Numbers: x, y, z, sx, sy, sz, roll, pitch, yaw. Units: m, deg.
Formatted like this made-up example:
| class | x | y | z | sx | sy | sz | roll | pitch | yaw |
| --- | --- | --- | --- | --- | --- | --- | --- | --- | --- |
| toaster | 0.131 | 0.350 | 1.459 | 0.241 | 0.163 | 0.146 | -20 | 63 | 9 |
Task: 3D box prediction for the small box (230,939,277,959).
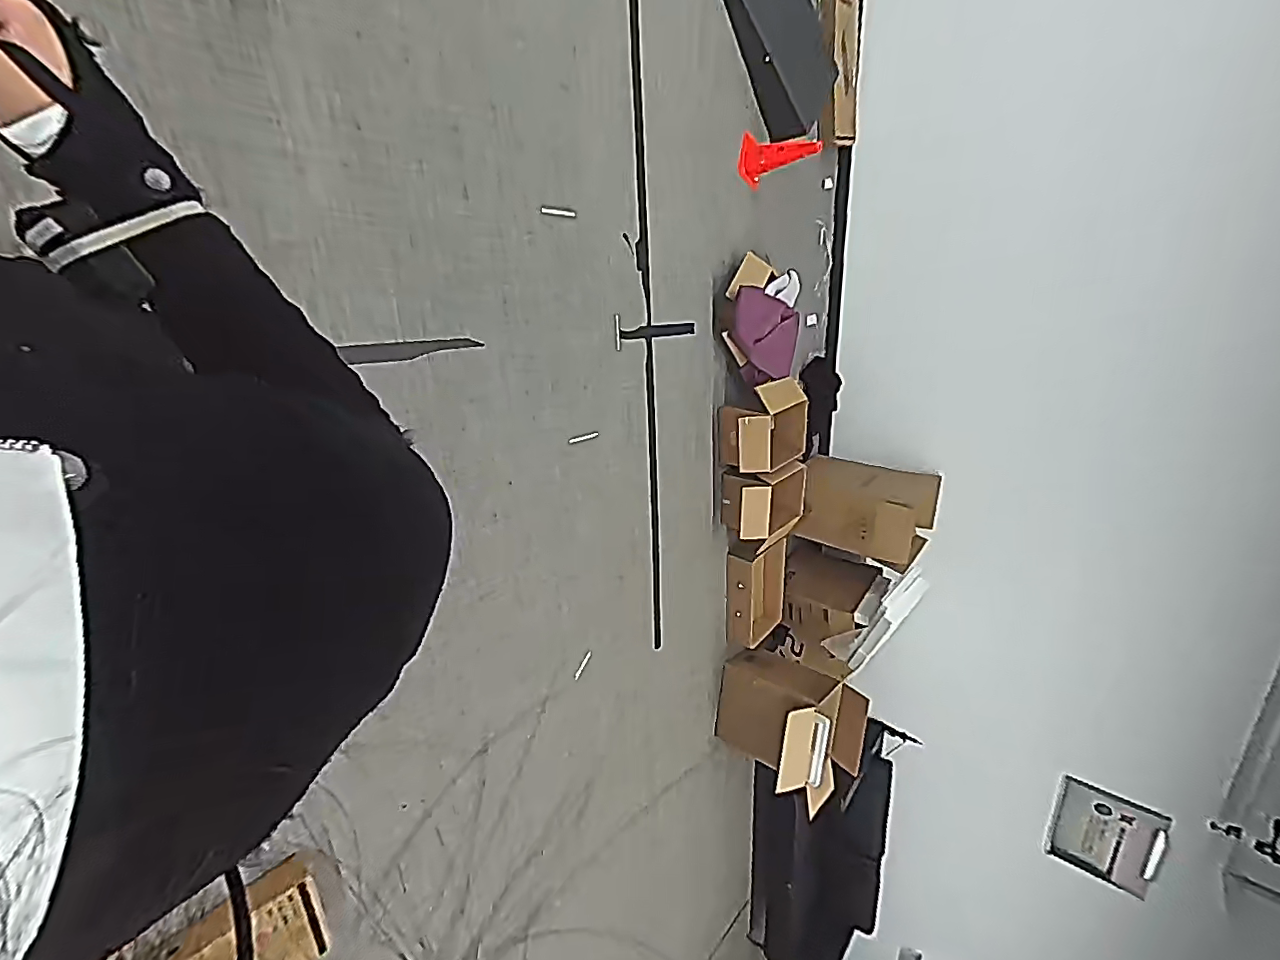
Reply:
| class | x | y | z | sx | sy | sz | roll | pitch | yaw |
| --- | --- | --- | --- | --- | --- | --- | --- | --- | --- |
| small box | -0.978 | 1.303 | 1.341 | 0.168 | 0.176 | 0.179 | -25 | 119 | -44 |
